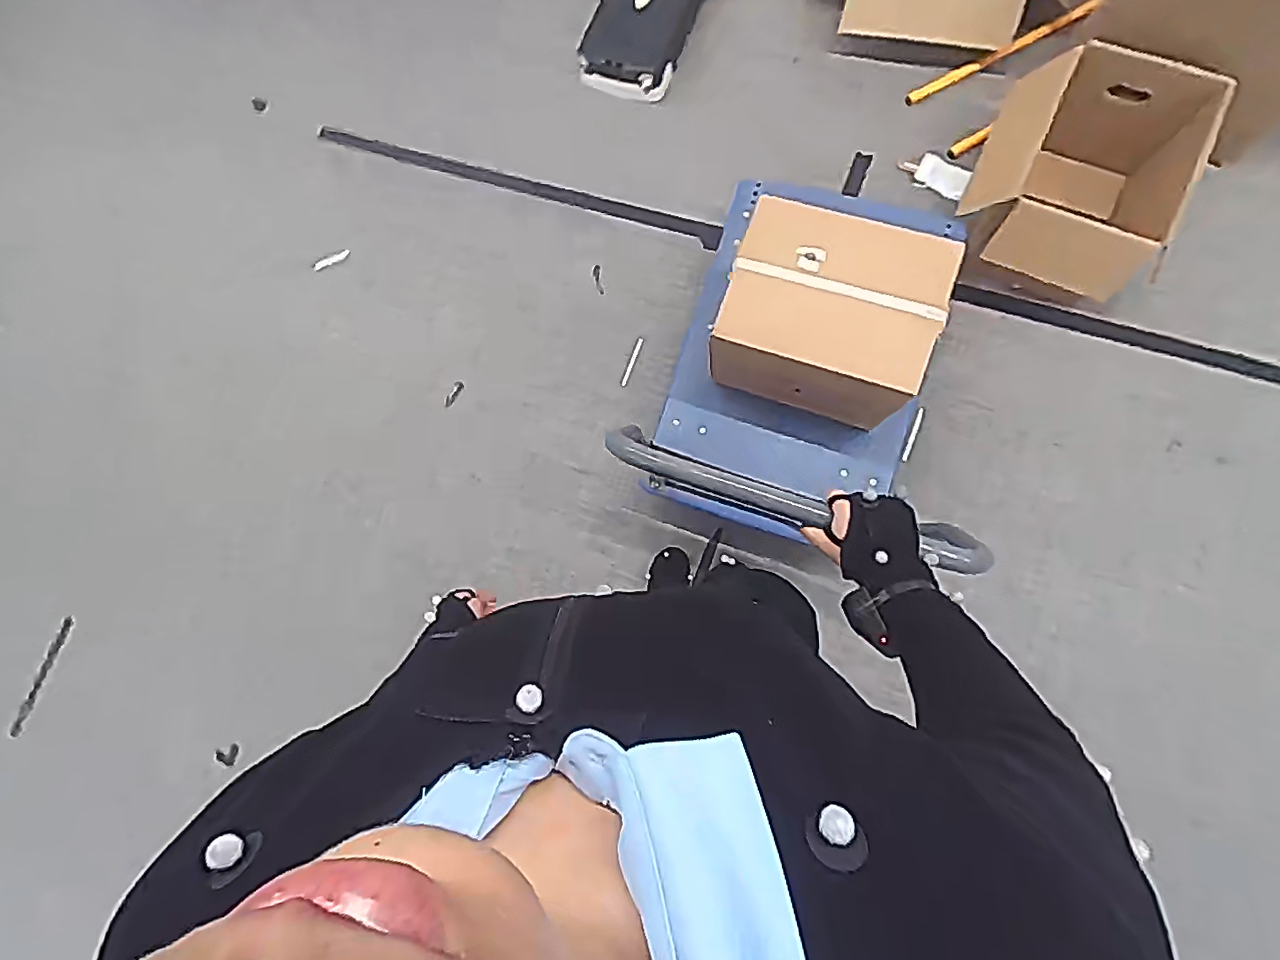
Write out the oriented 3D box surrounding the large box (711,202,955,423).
[{"bbox_3d":[0.399,-0.353,1.208,0.408,0.320,0.320,19,85,11],"label":"large box"}]
